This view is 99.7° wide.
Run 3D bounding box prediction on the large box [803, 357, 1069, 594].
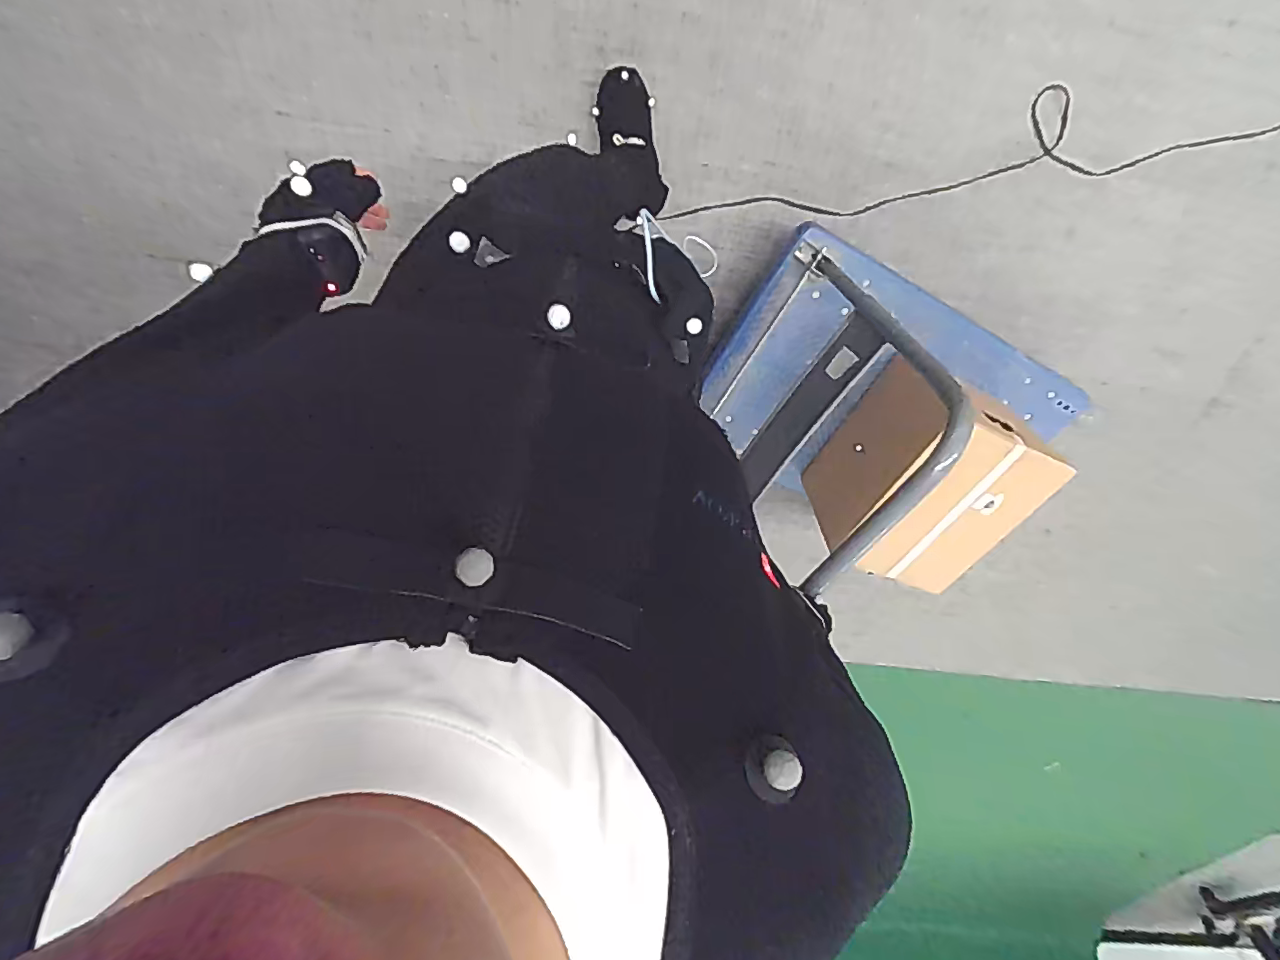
[{"bbox_3d":[0.648,-0.009,1.274,0.320,0.320,0.408,19,123,-13],"label":"large box"}]
